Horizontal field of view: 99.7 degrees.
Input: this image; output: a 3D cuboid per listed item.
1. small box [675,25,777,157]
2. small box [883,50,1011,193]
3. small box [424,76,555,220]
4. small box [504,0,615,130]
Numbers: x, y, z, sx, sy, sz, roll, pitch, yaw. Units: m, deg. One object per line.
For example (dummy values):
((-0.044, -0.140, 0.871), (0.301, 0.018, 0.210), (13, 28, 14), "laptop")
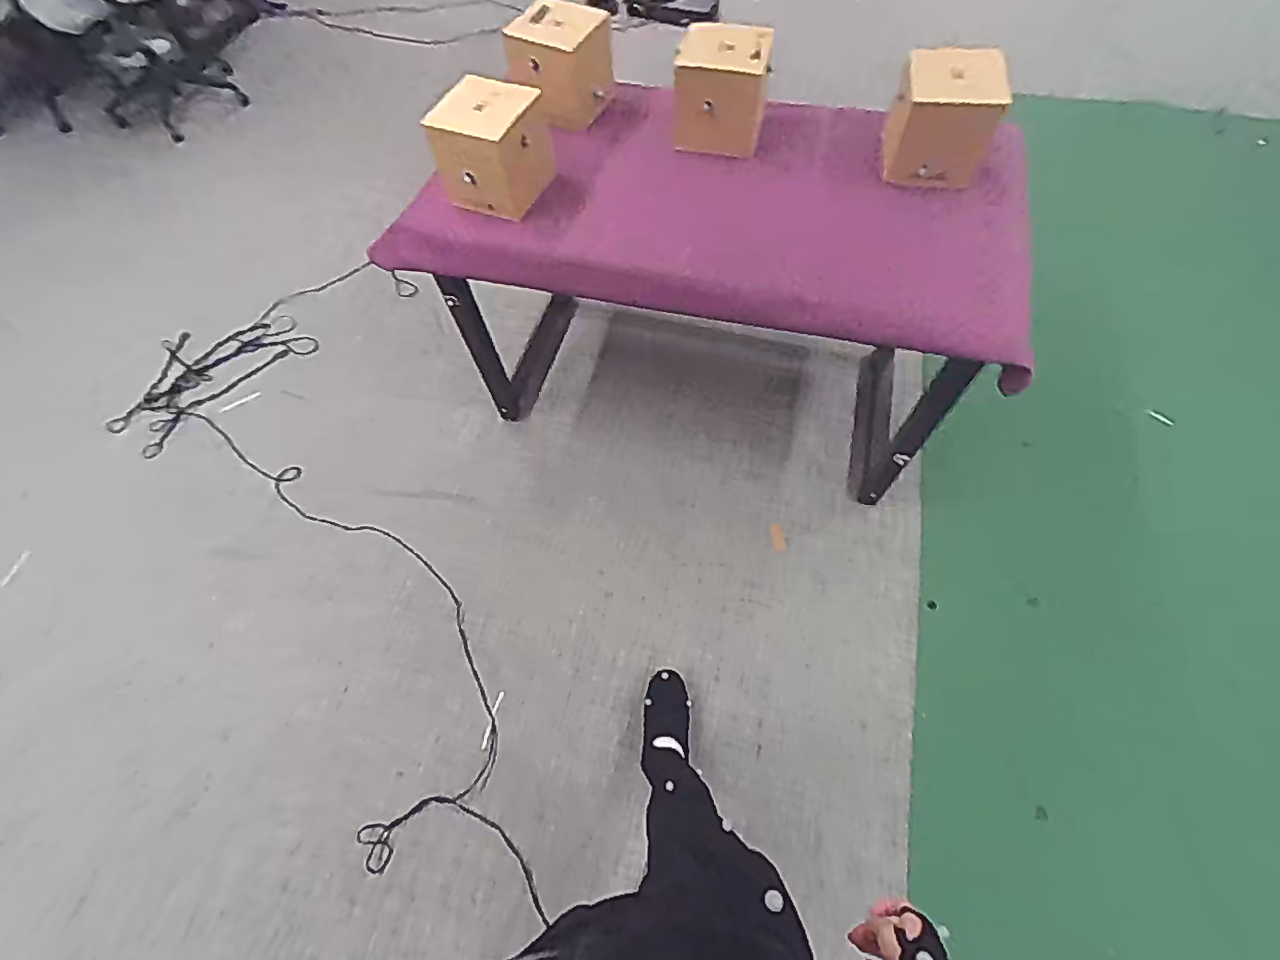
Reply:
((0.176, -0.811, 1.135), (0.179, 0.176, 0.168), (12, 66, 10), "small box")
((0.587, -0.698, 1.057), (0.168, 0.176, 0.179), (8, 65, 9), "small box")
((-0.285, -0.653, 1.073), (0.168, 0.176, 0.179), (21, 65, 12), "small box")
((-0.170, -0.921, 1.206), (0.179, 0.176, 0.168), (25, 68, 13), "small box")
